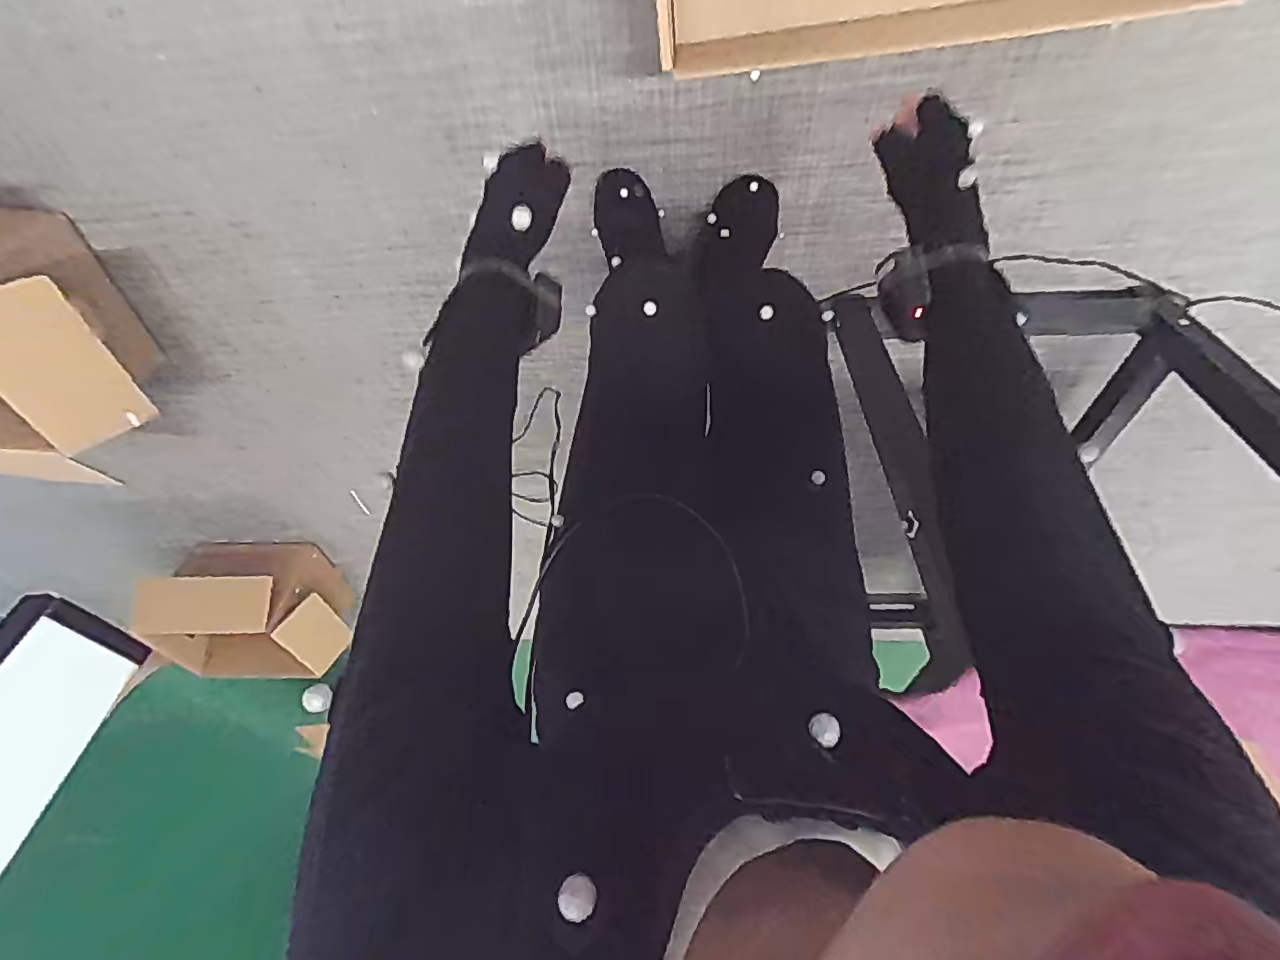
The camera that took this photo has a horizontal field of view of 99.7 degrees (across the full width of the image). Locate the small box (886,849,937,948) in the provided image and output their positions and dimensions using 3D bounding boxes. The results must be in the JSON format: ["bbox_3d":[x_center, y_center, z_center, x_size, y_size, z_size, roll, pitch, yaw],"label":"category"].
[{"bbox_3d":[0.672,0.927,1.201,0.179,0.176,0.168,0,138,4],"label":"small box"}]
